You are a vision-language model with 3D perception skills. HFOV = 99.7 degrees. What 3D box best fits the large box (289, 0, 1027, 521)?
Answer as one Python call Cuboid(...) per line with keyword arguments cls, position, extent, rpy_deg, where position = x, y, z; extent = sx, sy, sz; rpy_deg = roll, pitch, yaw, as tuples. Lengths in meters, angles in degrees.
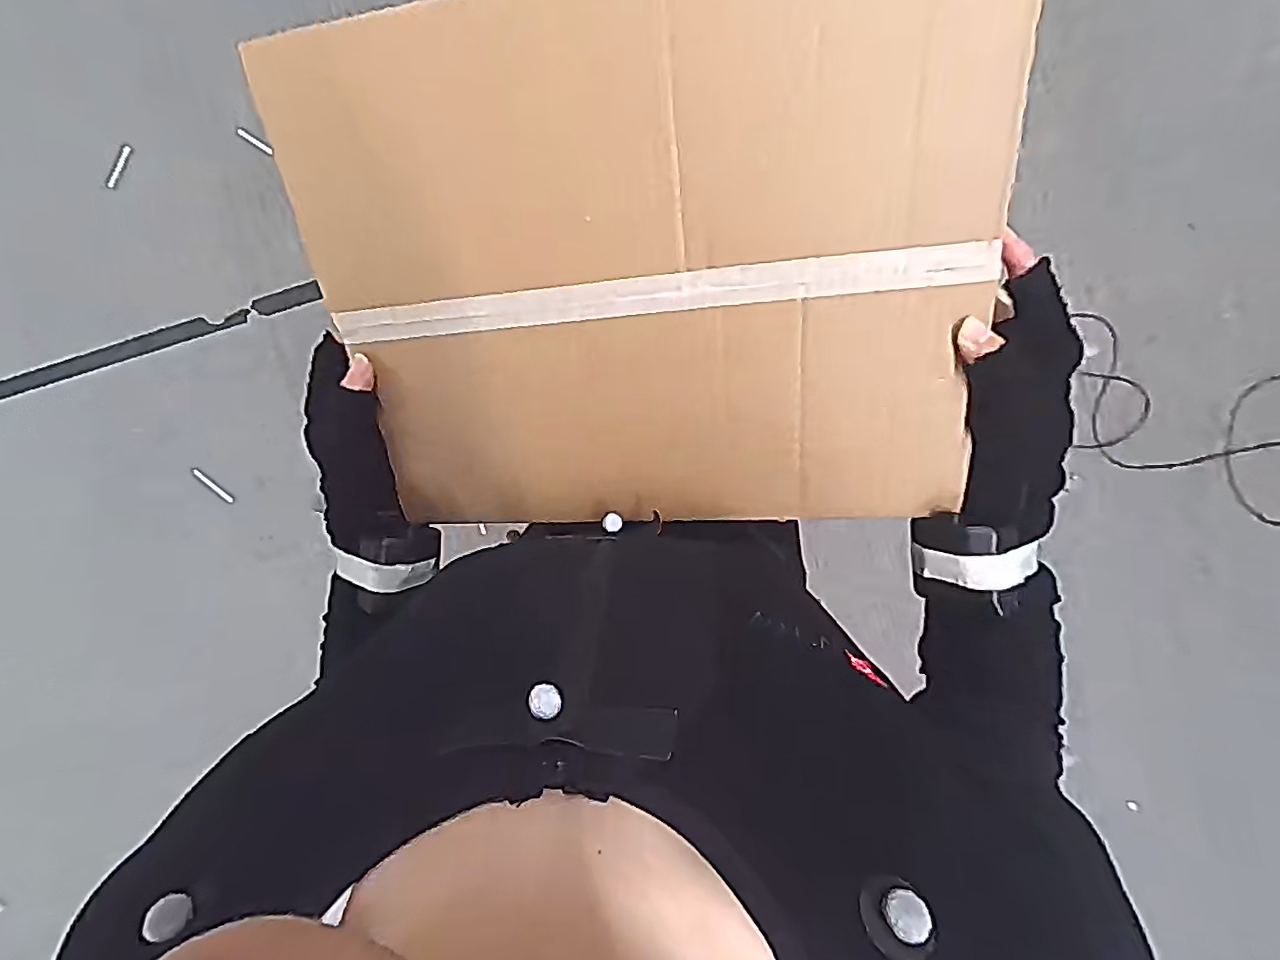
Cuboid(cls="large box", position=(0.024, -0.177, 0.474), extent=(0.408, 0.320, 0.320), rpy_deg=(-2, 117, 11))
